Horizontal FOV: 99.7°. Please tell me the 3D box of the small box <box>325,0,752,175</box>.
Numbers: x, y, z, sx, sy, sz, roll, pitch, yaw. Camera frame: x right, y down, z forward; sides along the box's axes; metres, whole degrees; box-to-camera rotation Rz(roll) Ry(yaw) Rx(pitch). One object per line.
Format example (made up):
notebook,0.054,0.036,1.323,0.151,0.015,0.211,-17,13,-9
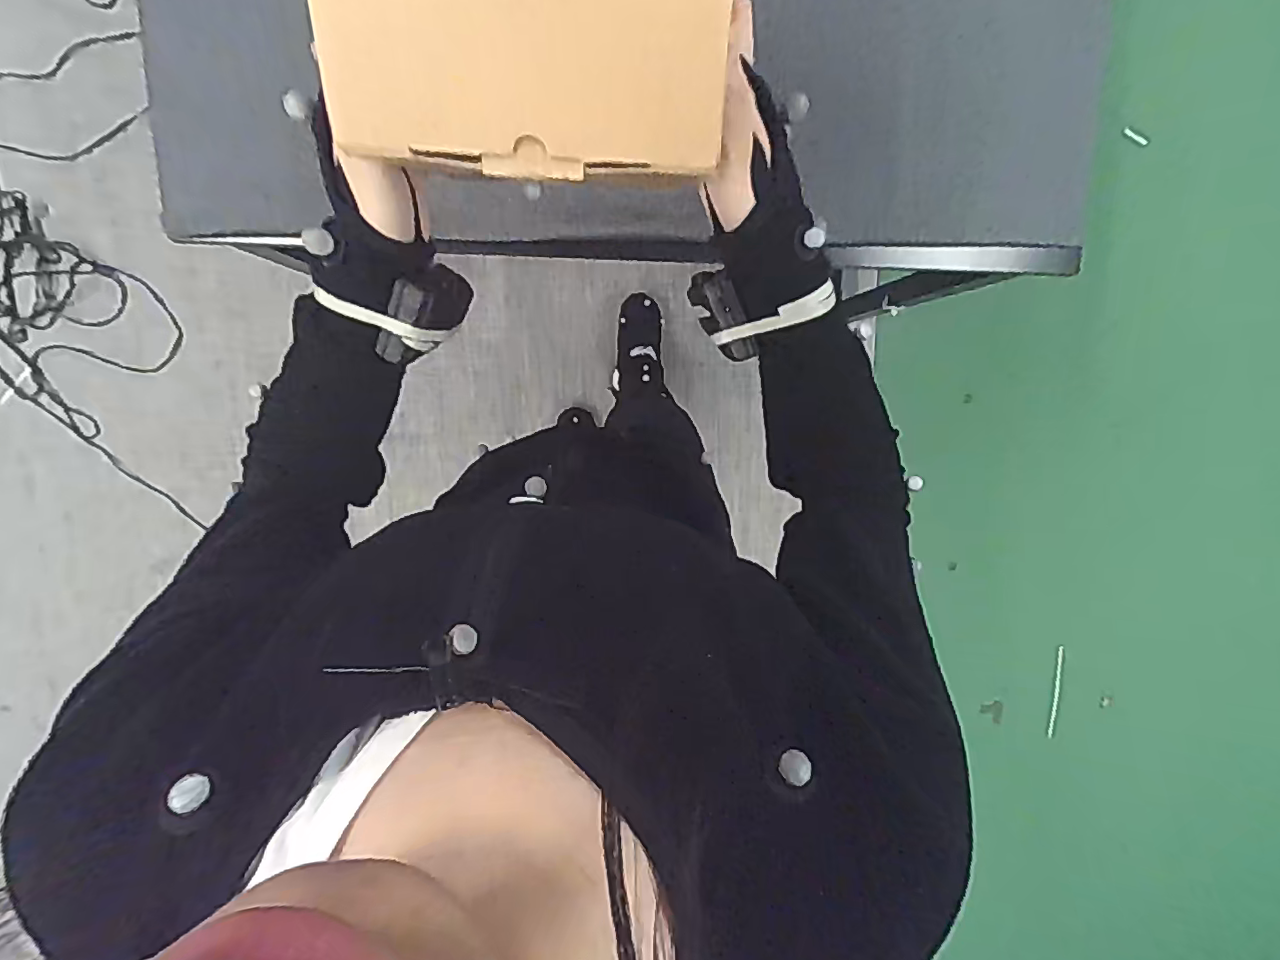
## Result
small box,-0.041,-0.256,0.261,0.168,0.176,0.179,0,117,-3
